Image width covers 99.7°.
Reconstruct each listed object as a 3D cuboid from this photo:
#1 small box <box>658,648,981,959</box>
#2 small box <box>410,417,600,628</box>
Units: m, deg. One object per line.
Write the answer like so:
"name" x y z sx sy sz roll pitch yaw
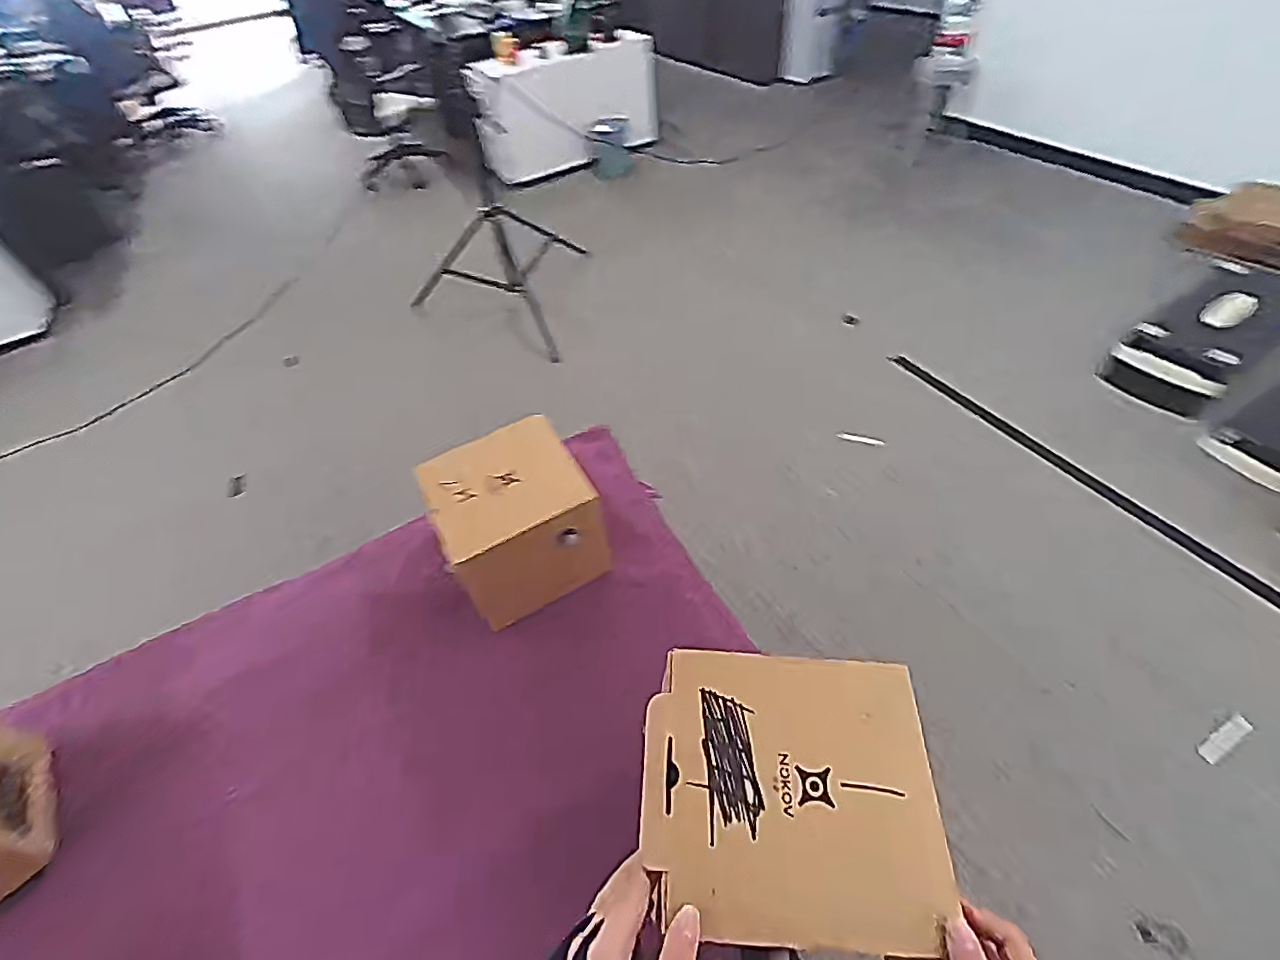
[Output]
"small box" 0.106 0.240 0.408 0.179 0.176 0.168 4 55 1
"small box" -0.162 0.056 0.697 0.179 0.176 0.168 -27 53 -16
